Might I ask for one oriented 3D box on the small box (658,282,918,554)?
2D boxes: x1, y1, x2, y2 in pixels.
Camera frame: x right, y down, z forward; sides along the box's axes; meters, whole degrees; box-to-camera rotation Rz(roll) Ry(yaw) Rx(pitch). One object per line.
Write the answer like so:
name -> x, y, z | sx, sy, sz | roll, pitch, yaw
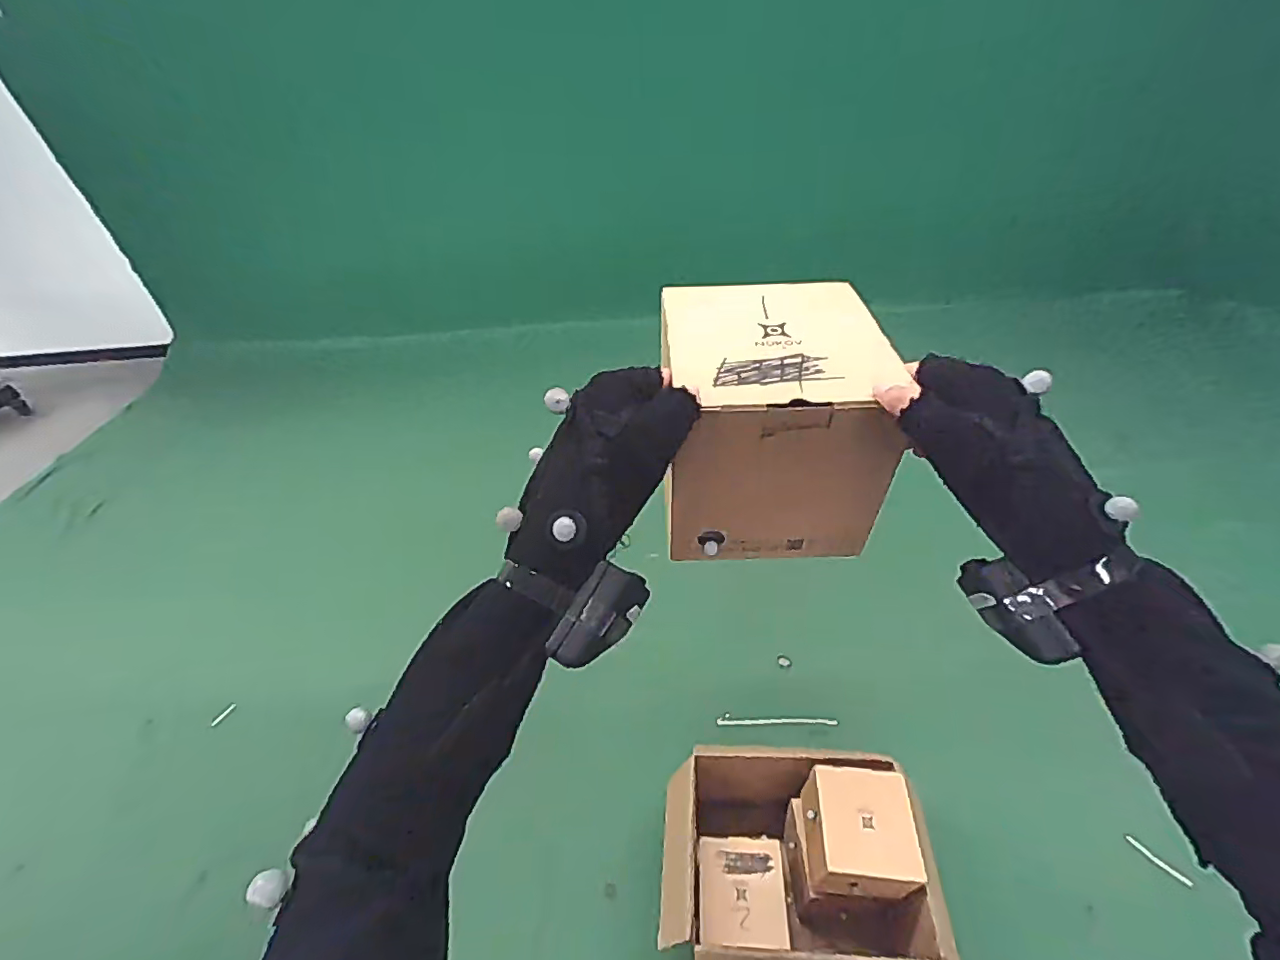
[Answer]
small box -> 0.101, -0.050, 0.462 | 0.168, 0.176, 0.179 | -1, 44, 0
